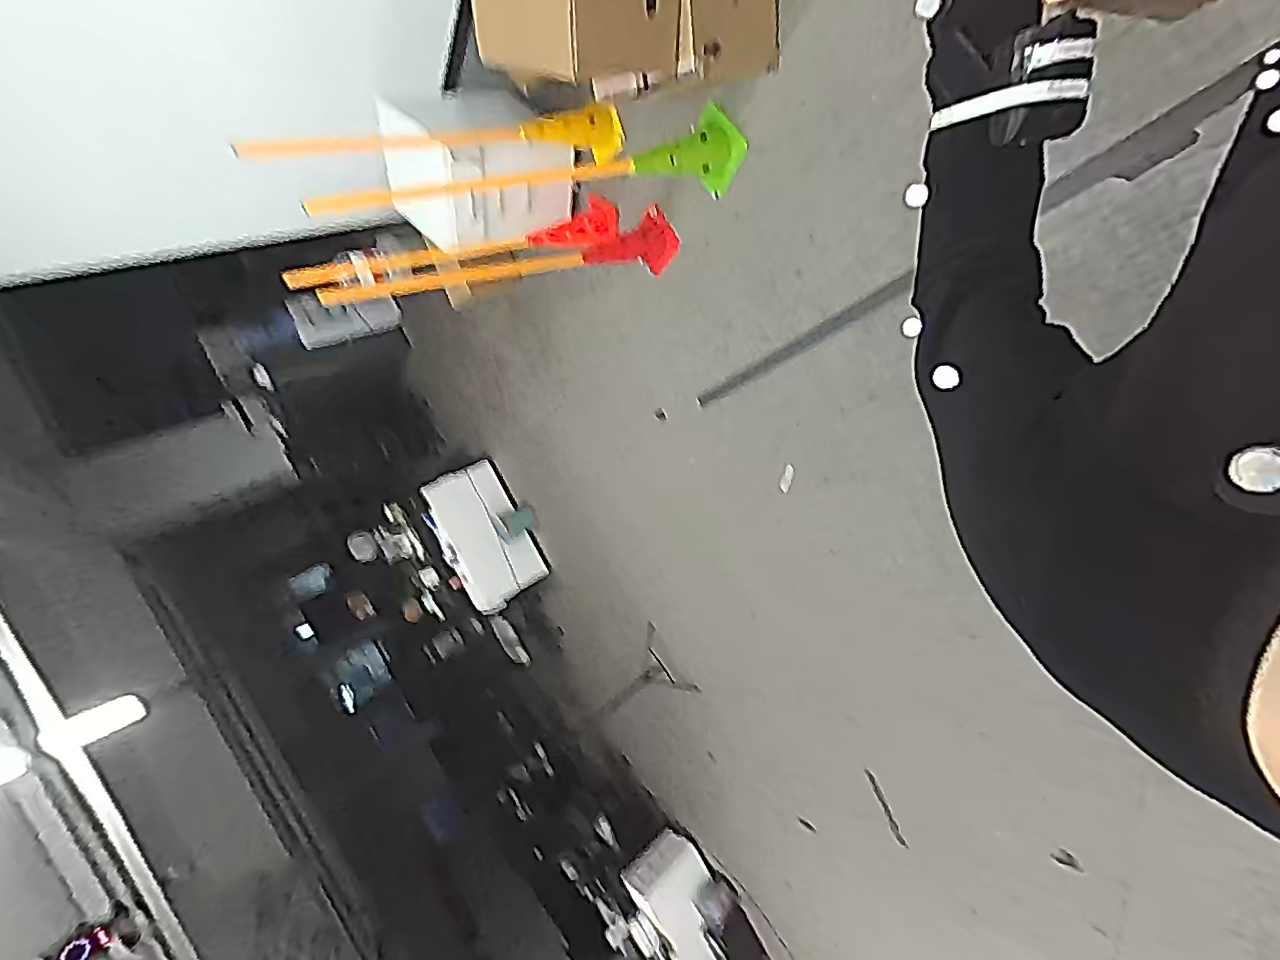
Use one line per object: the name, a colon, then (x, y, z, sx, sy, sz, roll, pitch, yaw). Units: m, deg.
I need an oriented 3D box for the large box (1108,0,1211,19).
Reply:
large box: (0.437, -0.515, 0.234, 0.408, 0.320, 0.320, -3, 111, 55)
